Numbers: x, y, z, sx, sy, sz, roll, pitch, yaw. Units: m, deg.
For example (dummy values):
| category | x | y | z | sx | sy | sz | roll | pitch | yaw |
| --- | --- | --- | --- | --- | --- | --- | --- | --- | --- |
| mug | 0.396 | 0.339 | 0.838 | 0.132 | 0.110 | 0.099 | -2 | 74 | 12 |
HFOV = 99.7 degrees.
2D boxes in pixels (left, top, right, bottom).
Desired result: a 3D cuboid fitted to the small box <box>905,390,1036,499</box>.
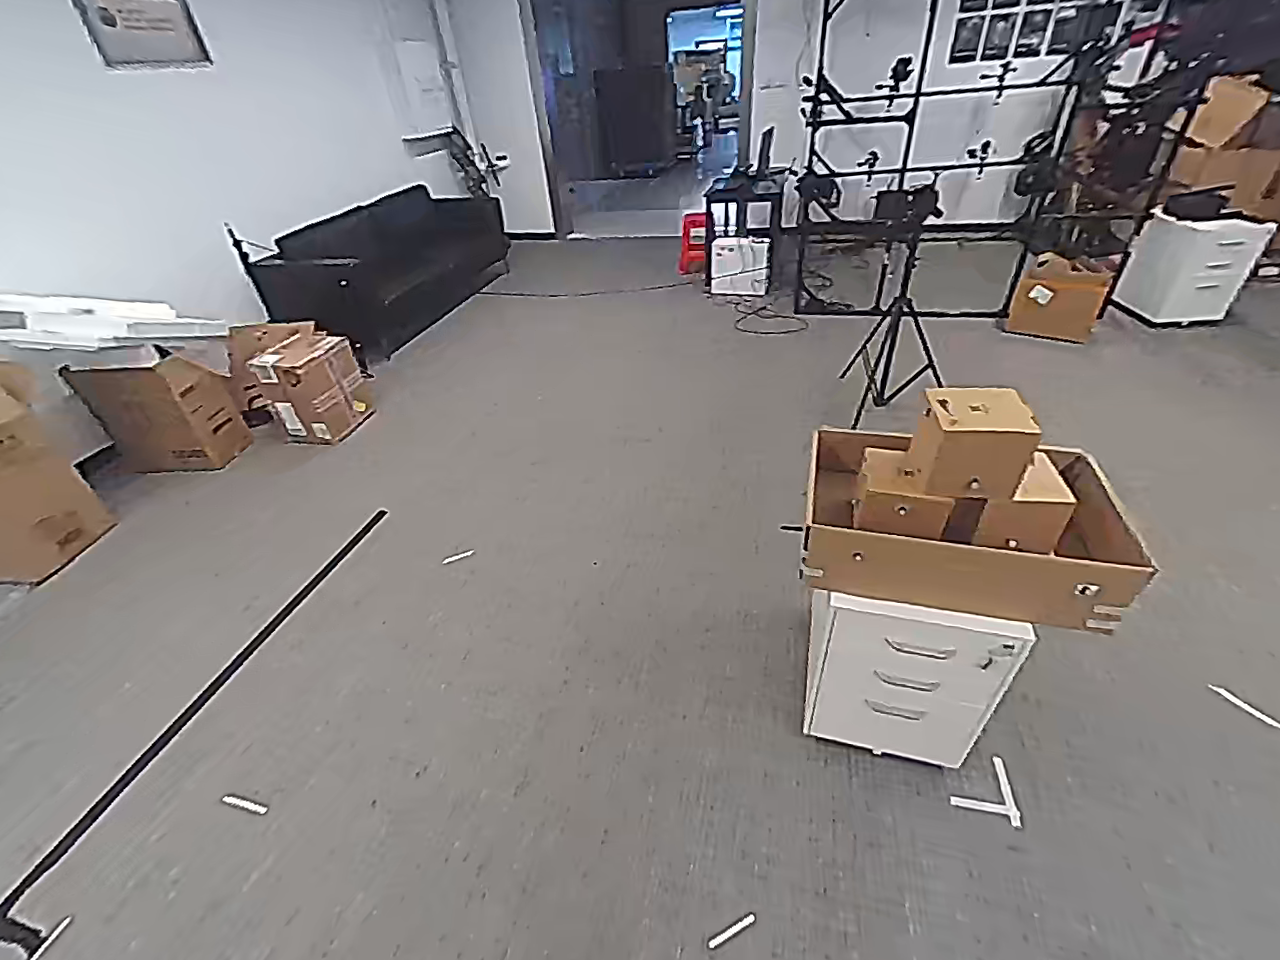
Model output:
| category | x | y | z | sx | sy | sz | roll | pitch | yaw |
| --- | --- | --- | --- | --- | --- | --- | --- | --- | --- |
| small box | 0.686 | -0.074 | 1.146 | 0.179 | 0.176 | 0.168 | 3 | 39 | 11 |
